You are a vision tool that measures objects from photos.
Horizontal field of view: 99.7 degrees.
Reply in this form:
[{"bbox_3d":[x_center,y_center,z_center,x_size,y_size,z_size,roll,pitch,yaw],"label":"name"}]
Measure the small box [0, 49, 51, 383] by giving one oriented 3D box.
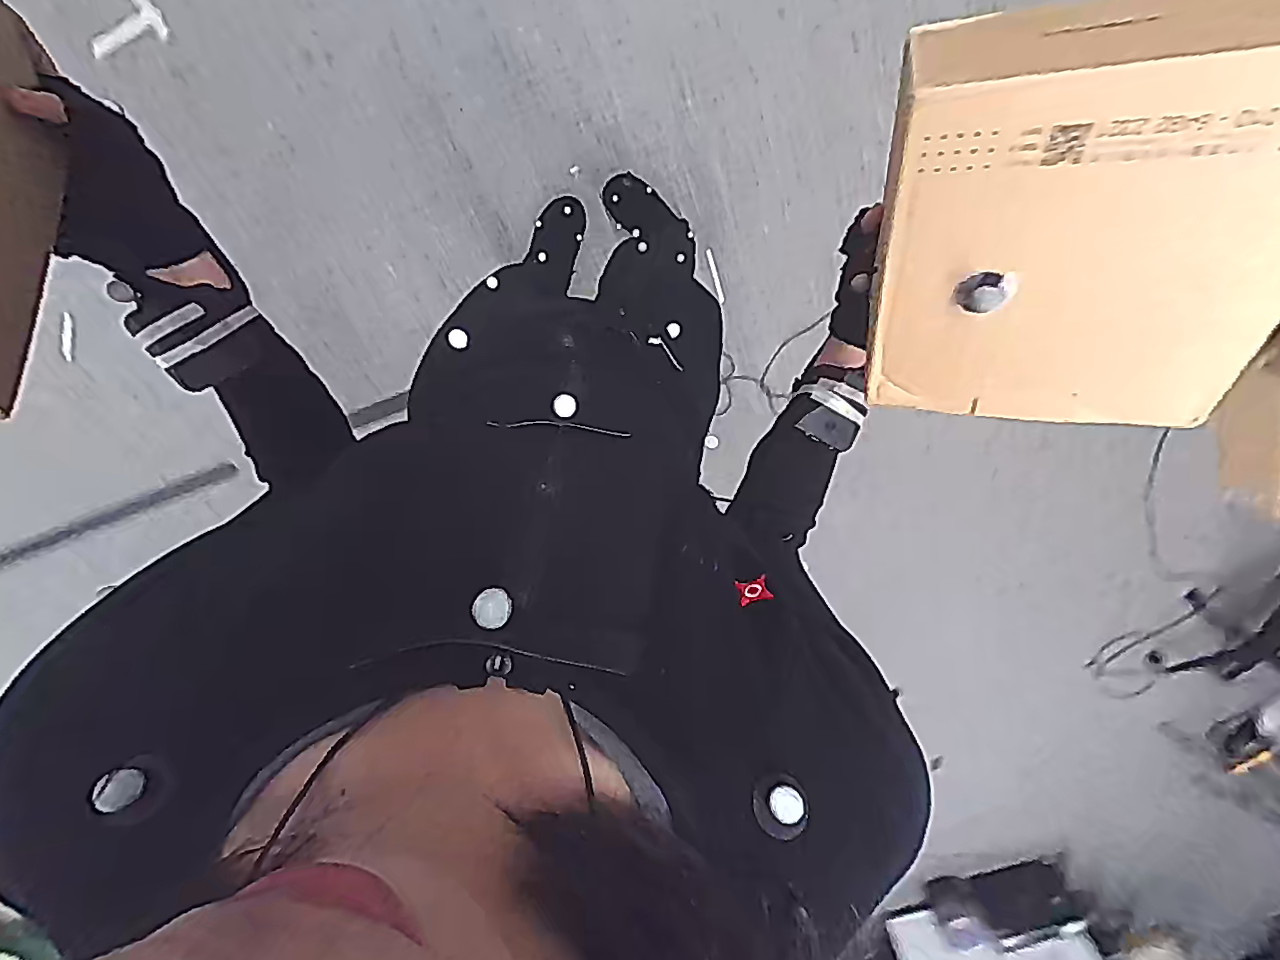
[{"bbox_3d":[-0.341,-0.133,0.164,0.168,0.179,0.176,-1,157,-29],"label":"small box"}]
